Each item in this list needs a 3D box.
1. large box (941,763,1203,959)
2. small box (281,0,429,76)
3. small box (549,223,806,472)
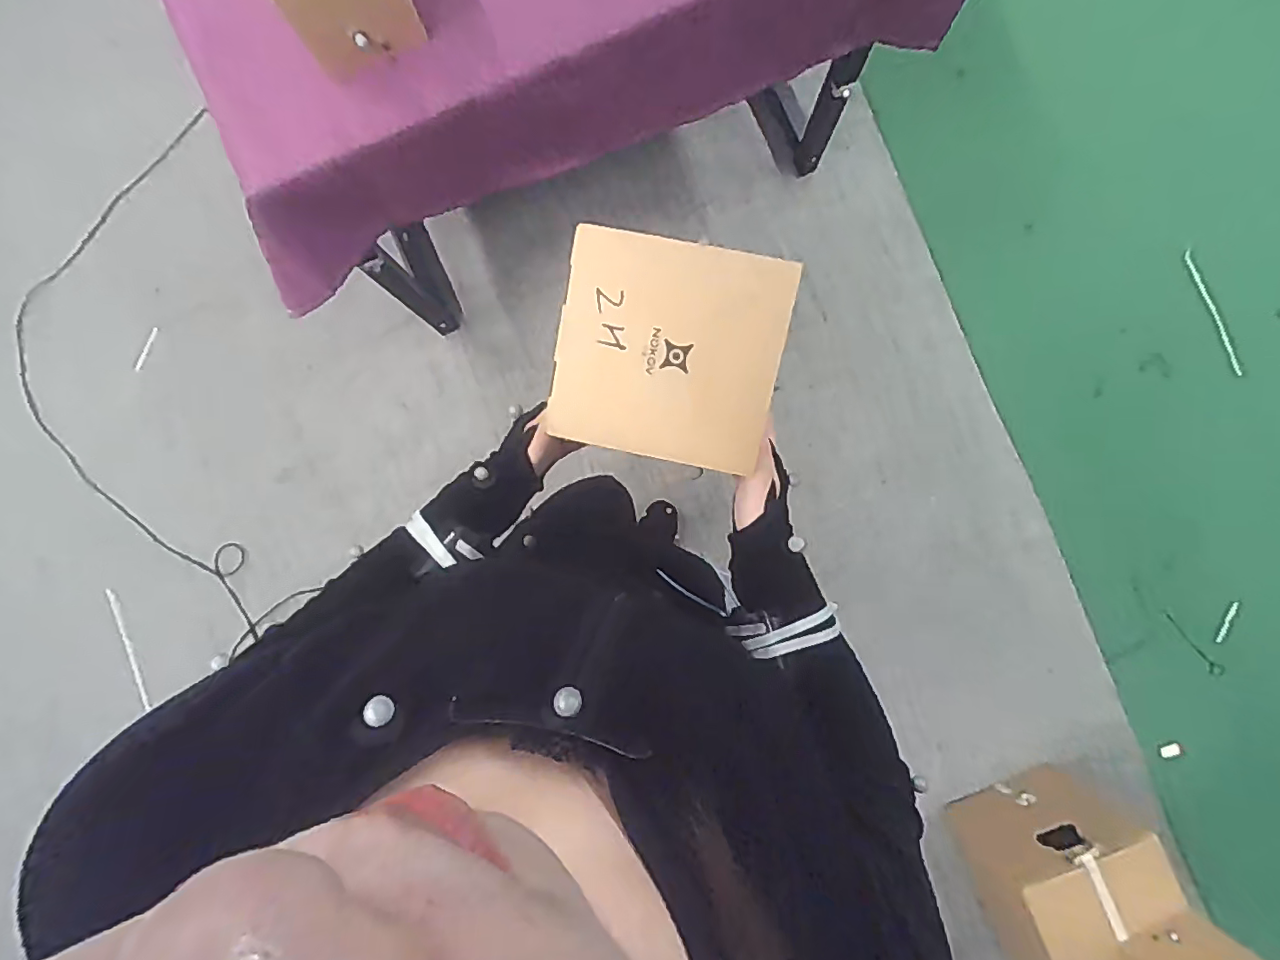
[{"bbox_3d":[1.012,0.986,1.292,0.320,0.320,0.408,-22,88,0],"label":"large box"},{"bbox_3d":[-0.428,-0.730,0.758,0.168,0.176,0.179,-22,87,0],"label":"small box"},{"bbox_3d":[0.033,-0.116,0.502,0.179,0.176,0.168,13,101,5],"label":"small box"}]
